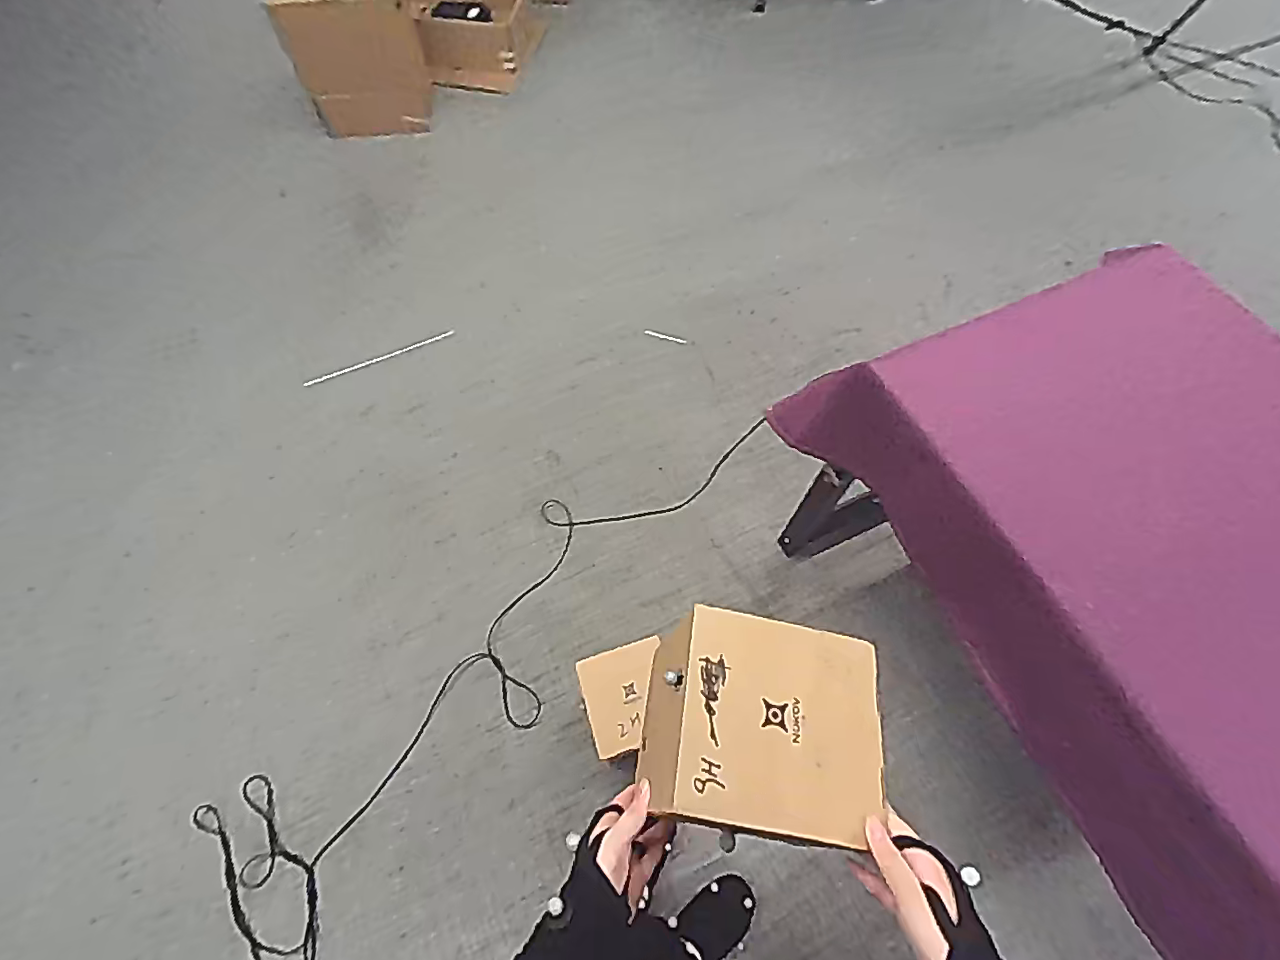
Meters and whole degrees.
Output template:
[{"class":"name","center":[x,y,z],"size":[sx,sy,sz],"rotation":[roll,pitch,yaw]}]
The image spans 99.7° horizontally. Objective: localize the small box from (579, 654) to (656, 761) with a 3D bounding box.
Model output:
[{"class":"small box","center":[-0.021,0.507,1.198],"size":[0.179,0.176,0.168],"rotation":[-19,66,-10]}]

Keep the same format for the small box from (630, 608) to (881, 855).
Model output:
[{"class":"small box","center":[0.101,0.245,0.523],"size":[0.179,0.176,0.168],"rotation":[14,56,-5]}]
